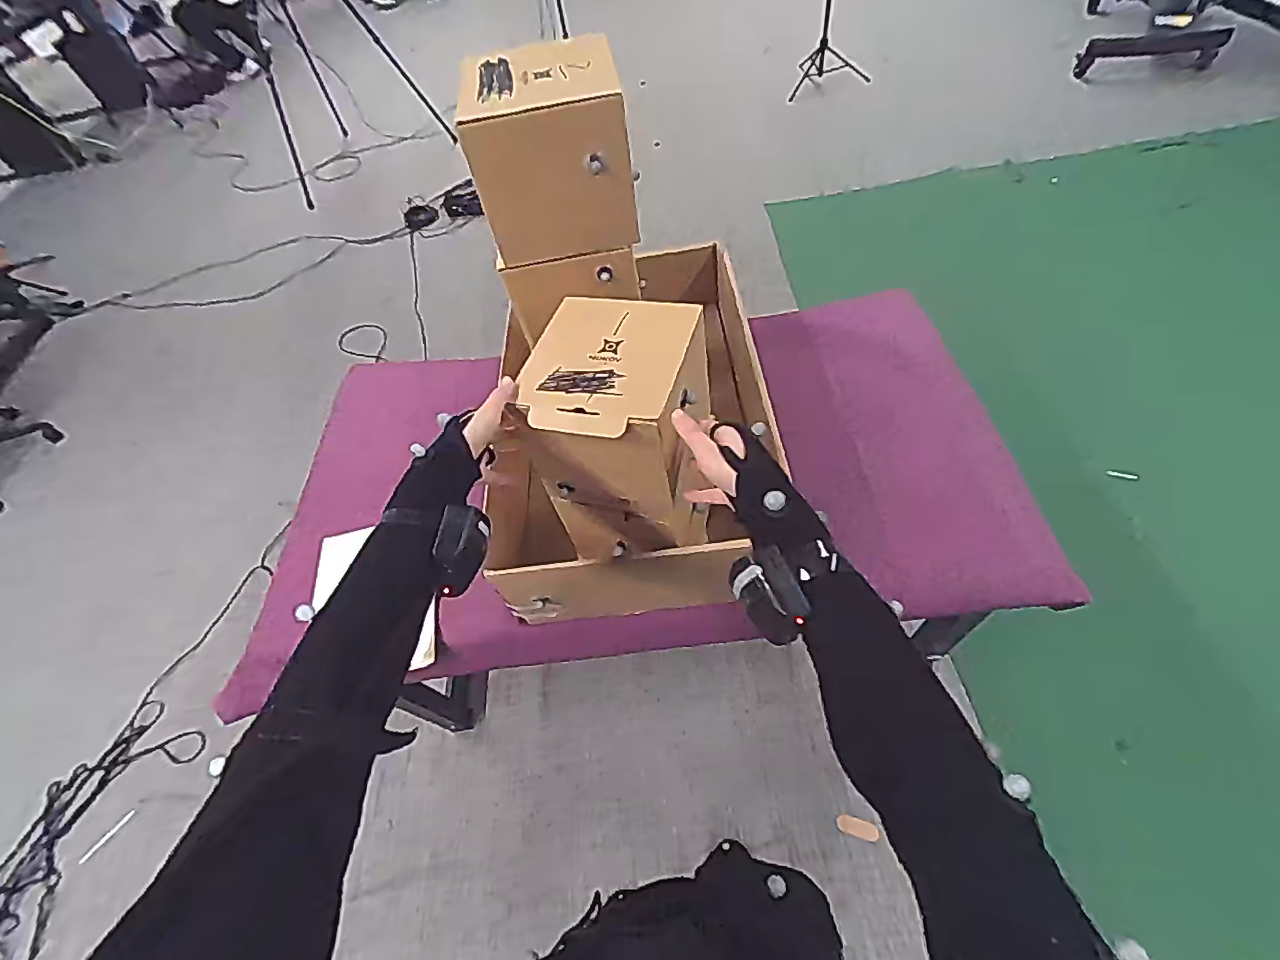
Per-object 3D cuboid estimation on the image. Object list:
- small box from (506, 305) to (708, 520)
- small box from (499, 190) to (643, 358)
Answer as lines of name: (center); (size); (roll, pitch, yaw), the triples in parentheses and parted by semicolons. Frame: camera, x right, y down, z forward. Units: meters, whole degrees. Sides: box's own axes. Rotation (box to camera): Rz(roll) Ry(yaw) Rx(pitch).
small box: (-0.021, -0.076, 0.623); (0.168, 0.176, 0.179); (9, 55, 17)
small box: (-0.091, -0.289, 0.793); (0.179, 0.176, 0.168); (-9, 55, 2)
